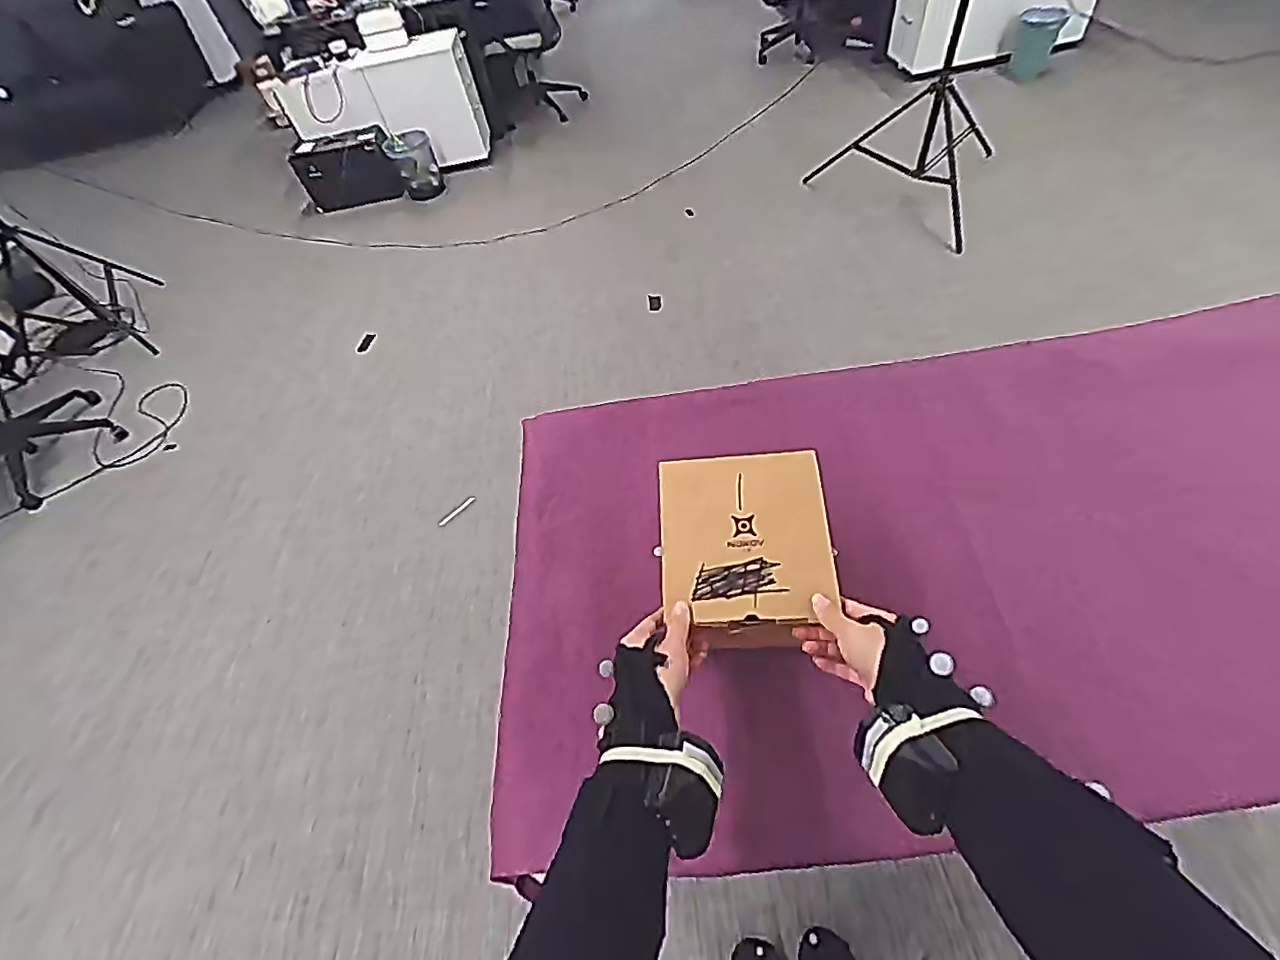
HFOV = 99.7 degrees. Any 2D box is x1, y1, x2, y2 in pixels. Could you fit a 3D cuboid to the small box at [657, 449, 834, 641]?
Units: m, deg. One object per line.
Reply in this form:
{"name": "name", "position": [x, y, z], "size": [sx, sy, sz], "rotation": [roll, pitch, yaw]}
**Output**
{"name": "small box", "position": [0.111, 0.084, 0.610], "size": [0.168, 0.176, 0.179], "rotation": [-4, 64, 7]}
